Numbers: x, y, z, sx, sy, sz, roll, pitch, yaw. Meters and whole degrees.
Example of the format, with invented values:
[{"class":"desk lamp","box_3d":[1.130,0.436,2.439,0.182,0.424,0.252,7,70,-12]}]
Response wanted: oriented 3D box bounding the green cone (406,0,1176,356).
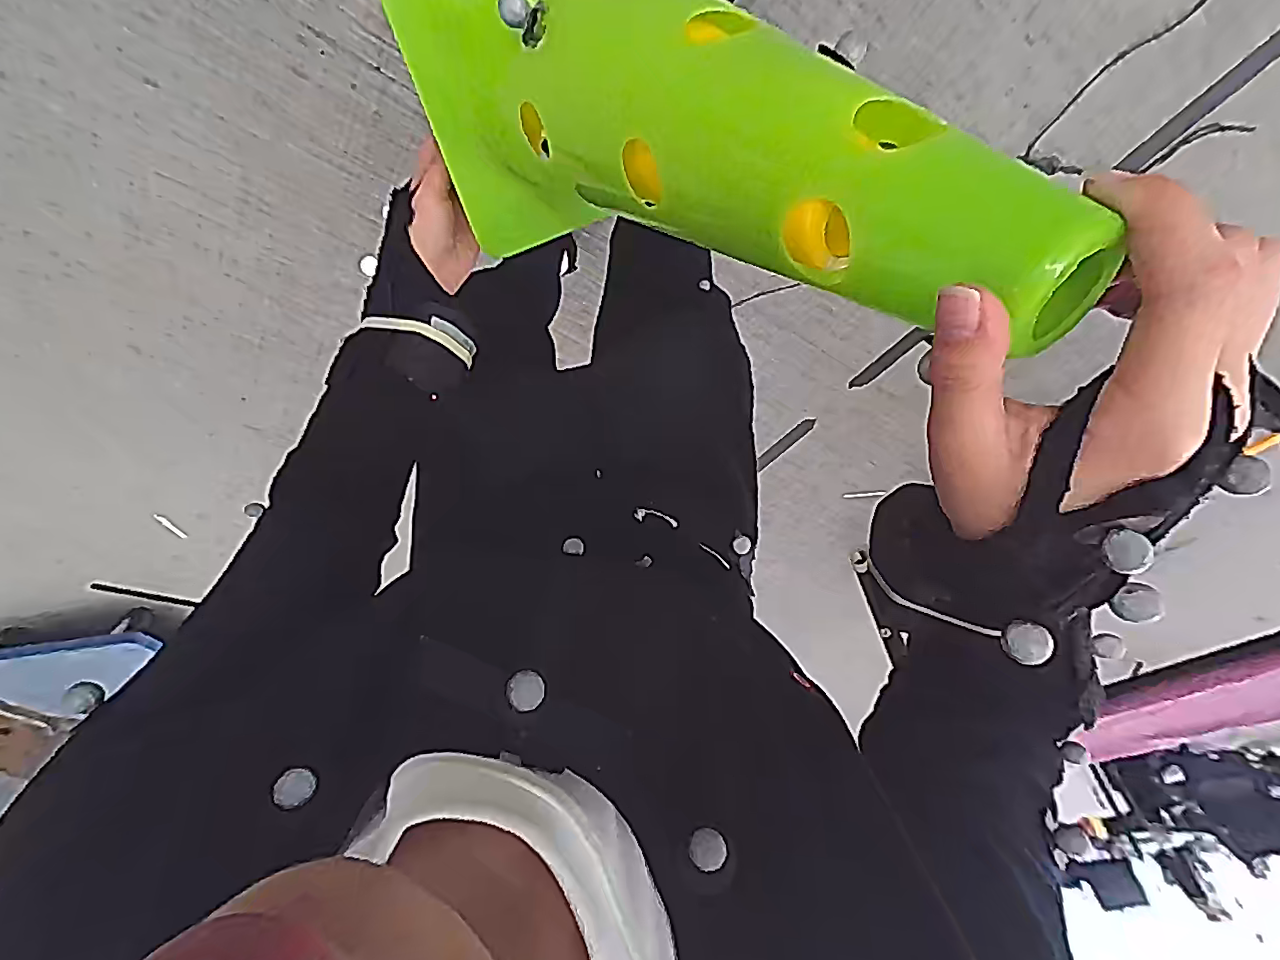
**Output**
[{"class":"green cone","box_3d":[0.044,-0.167,0.248,0.202,0.368,0.200,-26,140,-10]}]
